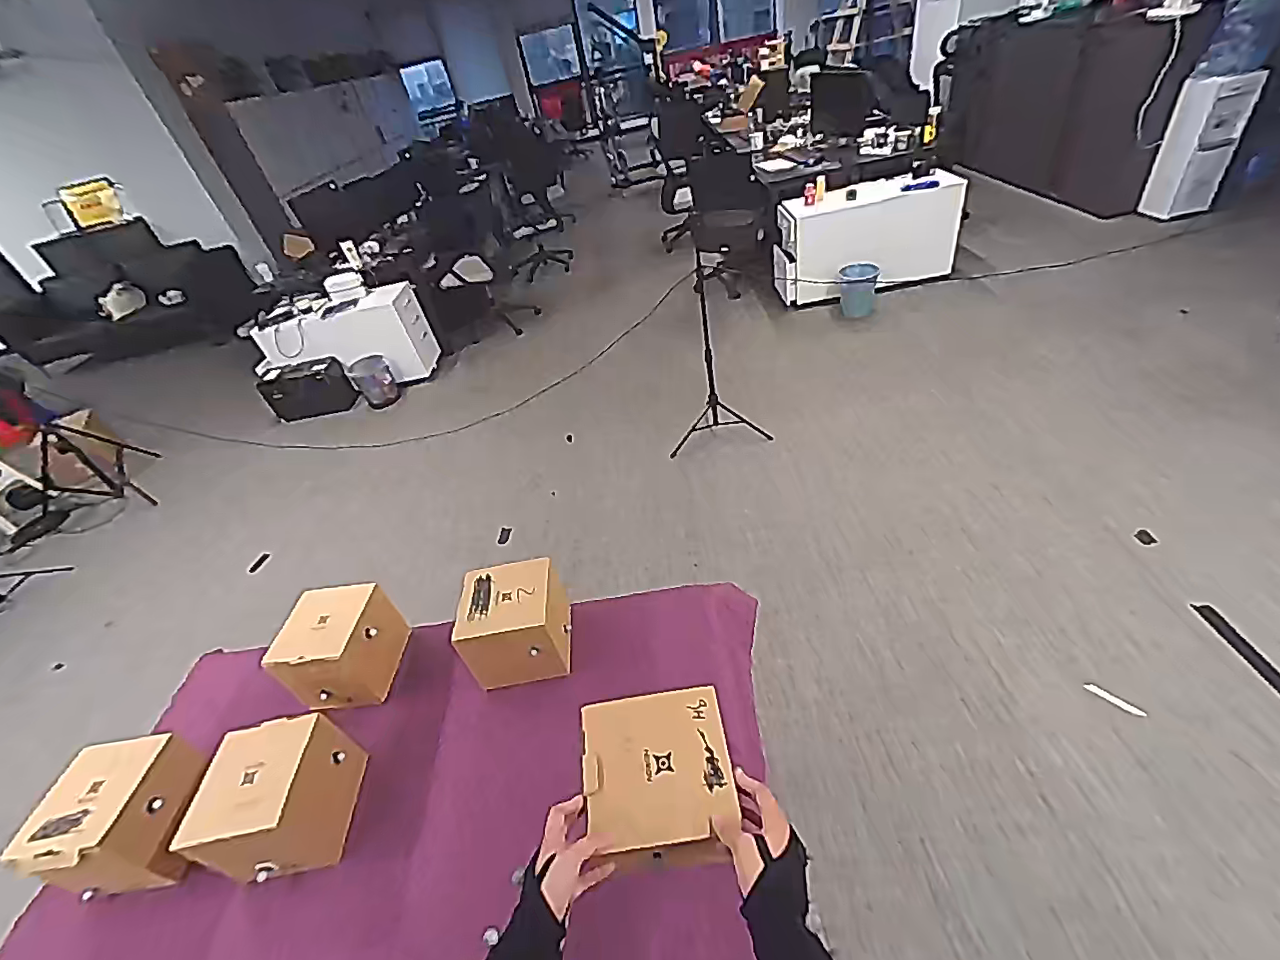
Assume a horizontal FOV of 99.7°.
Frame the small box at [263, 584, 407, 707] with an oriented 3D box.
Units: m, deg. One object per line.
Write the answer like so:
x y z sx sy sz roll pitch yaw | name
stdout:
-0.606 0.338 1.107 0.168 0.176 0.179 -7 40 7 | small box

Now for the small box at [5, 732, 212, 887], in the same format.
-0.859 0.561 0.915 0.168 0.176 0.179 -10 38 4 | small box

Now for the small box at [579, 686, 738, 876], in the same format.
0.025 0.391 0.697 0.179 0.176 0.168 -9 47 1 | small box

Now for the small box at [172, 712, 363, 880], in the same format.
-0.589 0.518 0.890 0.168 0.176 0.179 -13 38 2 | small box
